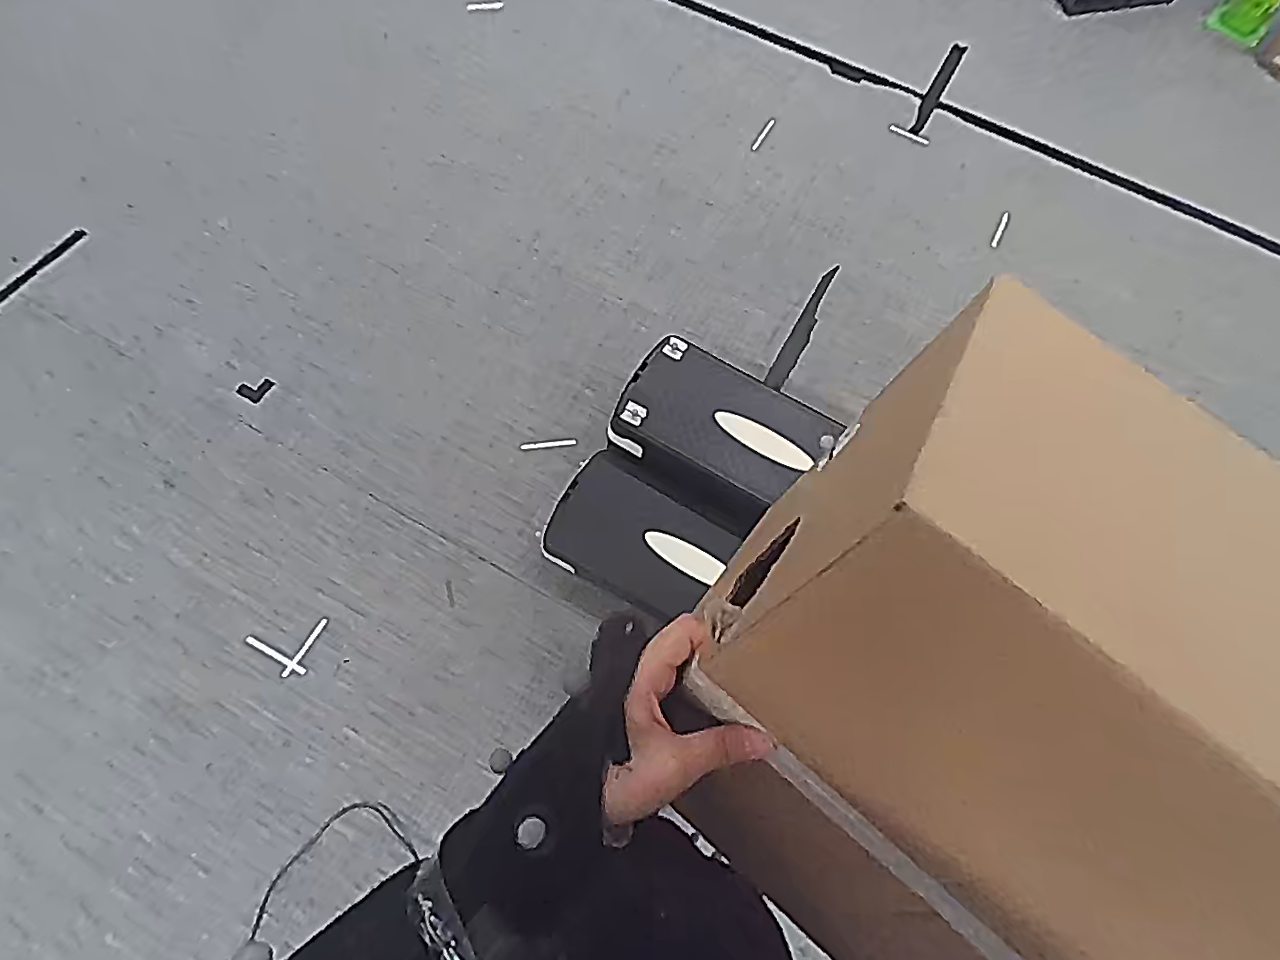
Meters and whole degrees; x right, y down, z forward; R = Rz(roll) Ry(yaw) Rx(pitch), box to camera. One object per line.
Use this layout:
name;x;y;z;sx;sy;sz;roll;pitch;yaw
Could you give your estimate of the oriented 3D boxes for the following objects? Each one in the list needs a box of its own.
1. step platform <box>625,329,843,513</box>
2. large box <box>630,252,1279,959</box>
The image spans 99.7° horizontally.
step platform;0.300;-0.059;1.266;0.684;0.204;0.286;35;73;7
large box;0.273;0.121;0.347;0.408;0.320;0.320;39;48;8
